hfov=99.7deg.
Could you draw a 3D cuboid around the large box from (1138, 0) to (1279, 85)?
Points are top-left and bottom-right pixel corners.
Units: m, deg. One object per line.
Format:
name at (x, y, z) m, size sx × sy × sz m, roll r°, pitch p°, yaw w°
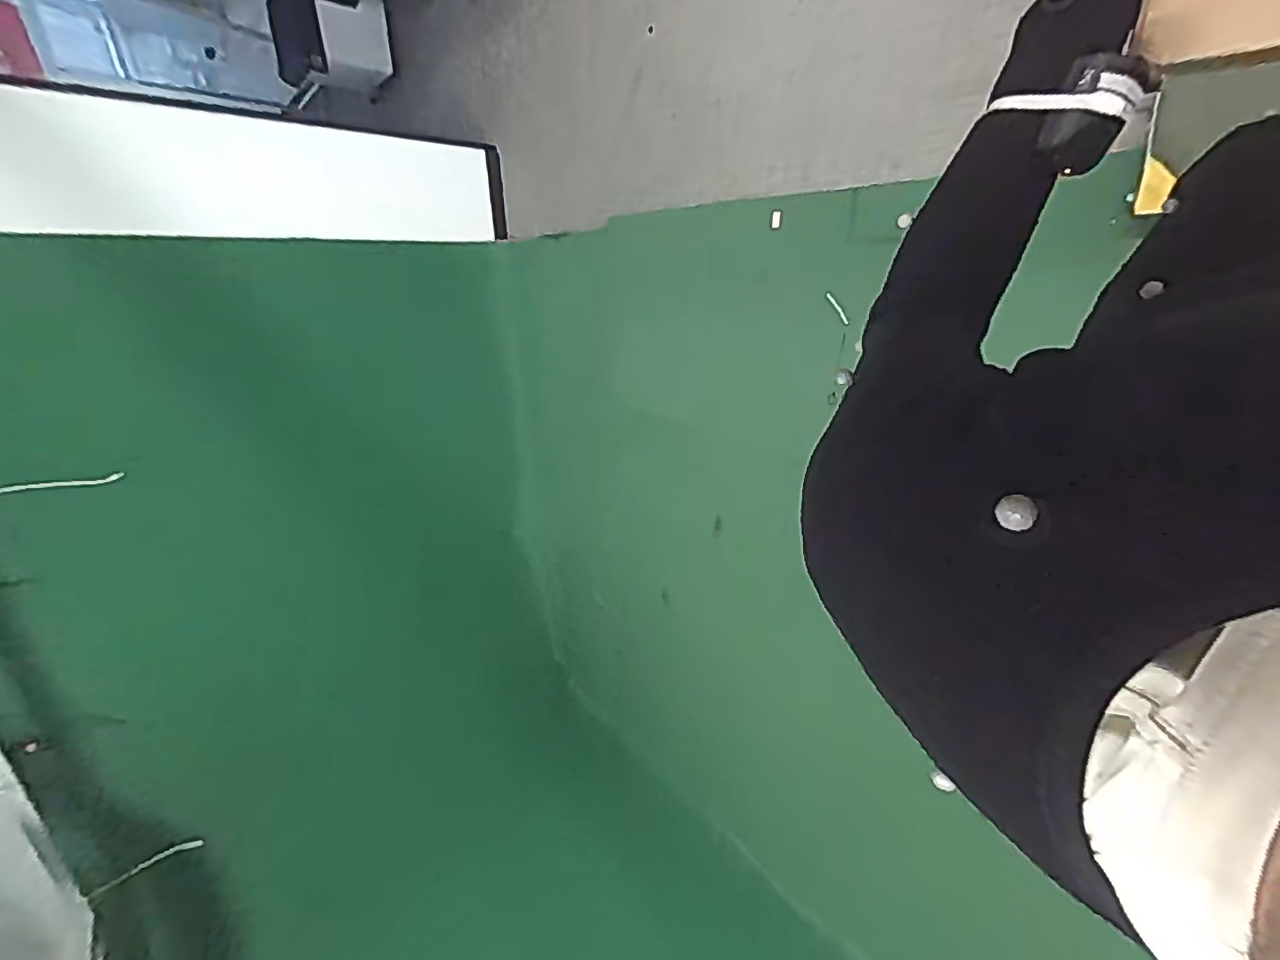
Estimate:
large box at (0.589, -0.452, 0.296) m, size 0.408 × 0.320 × 0.320 m, roll 18°, pitch 128°, yaw 40°
